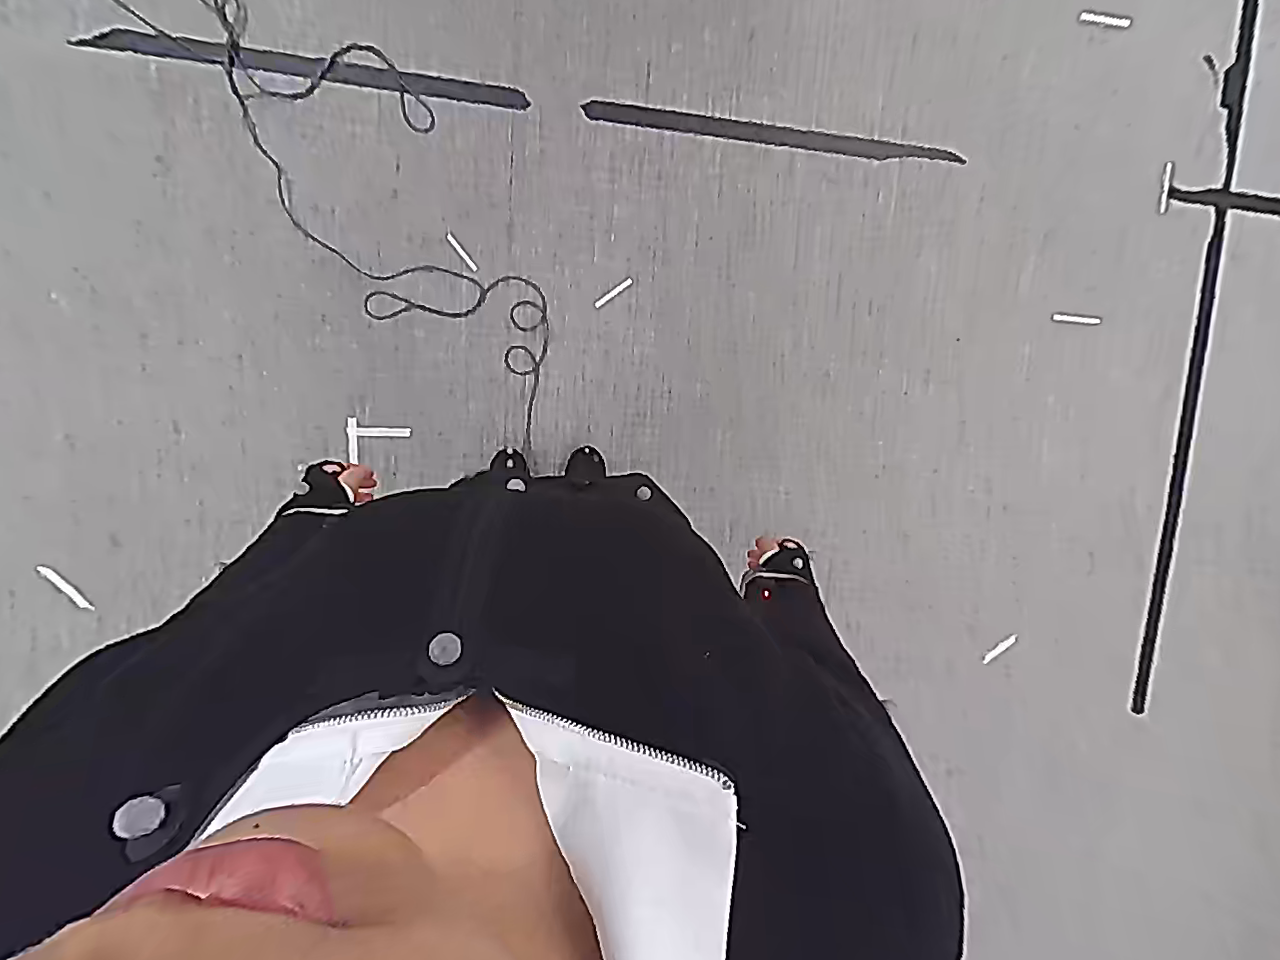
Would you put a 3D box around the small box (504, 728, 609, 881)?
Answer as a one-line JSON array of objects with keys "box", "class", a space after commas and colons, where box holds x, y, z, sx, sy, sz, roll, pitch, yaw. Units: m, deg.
[{"box": [-0.149, 0.576, 0.978, 0.168, 0.176, 0.179, 3, 93, -9], "class": "small box"}]
